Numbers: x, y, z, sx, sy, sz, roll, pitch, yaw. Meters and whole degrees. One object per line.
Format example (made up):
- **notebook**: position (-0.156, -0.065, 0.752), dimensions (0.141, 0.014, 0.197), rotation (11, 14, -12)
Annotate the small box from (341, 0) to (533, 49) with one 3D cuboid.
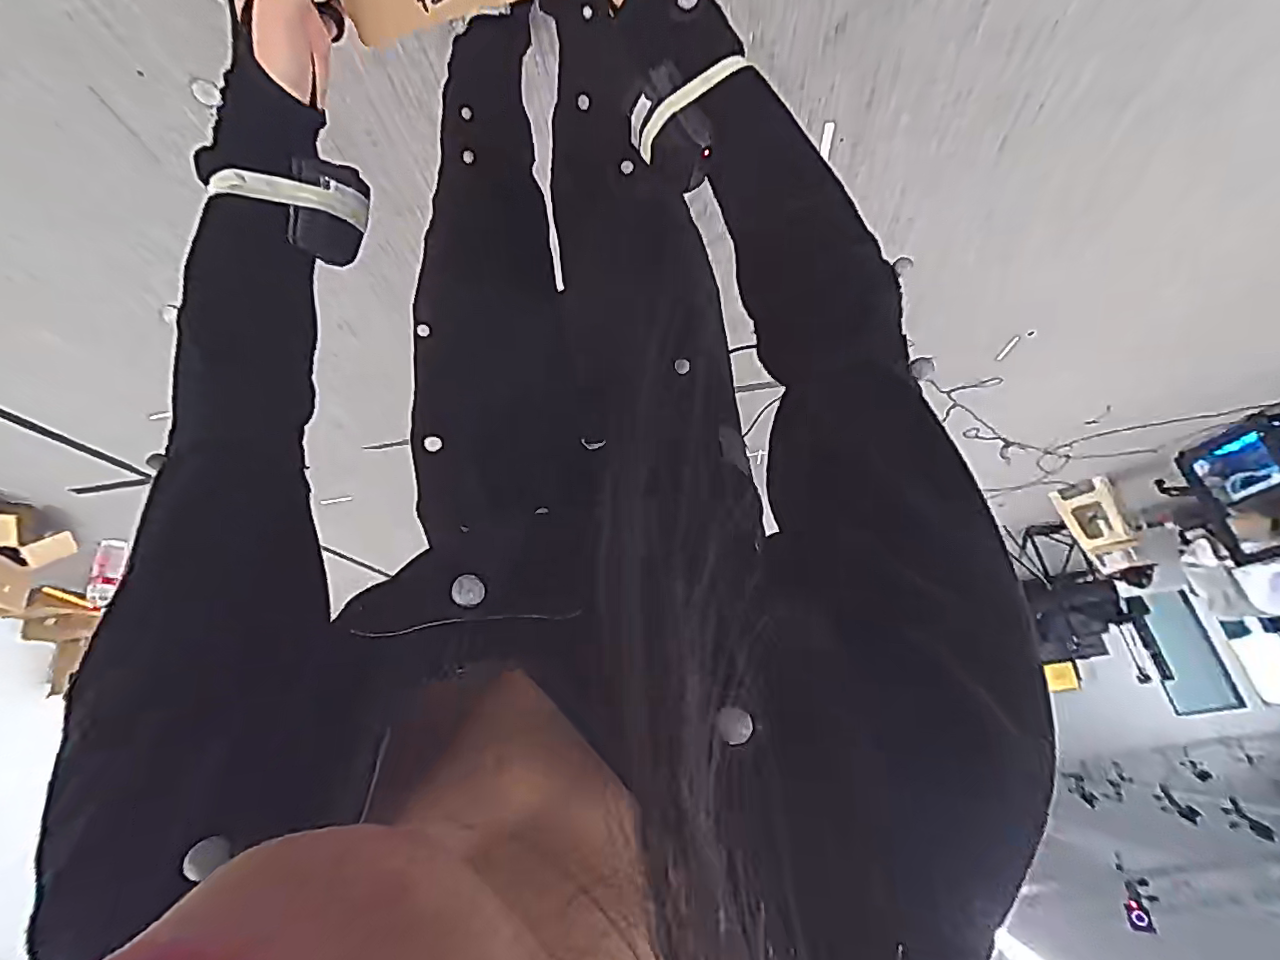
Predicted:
- **small box**: position (-0.140, -0.421, 0.332), dimensions (0.168, 0.176, 0.179), rotation (-17, 150, 1)
